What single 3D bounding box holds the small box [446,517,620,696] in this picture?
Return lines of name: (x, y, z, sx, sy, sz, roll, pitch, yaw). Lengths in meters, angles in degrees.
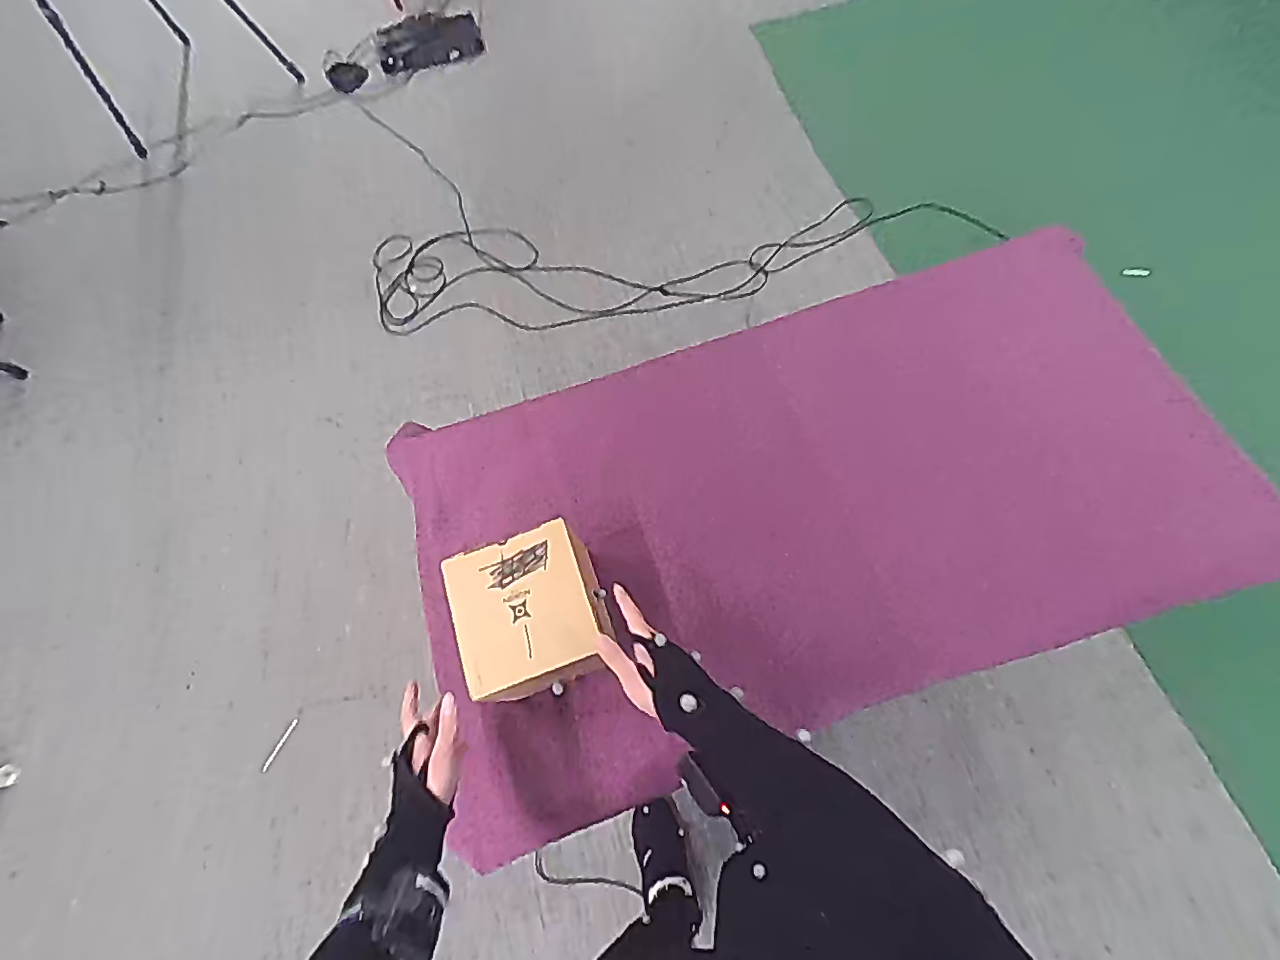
small box: (-0.135, 0.176, 0.722, 0.168, 0.176, 0.179, -20, 68, -3)
